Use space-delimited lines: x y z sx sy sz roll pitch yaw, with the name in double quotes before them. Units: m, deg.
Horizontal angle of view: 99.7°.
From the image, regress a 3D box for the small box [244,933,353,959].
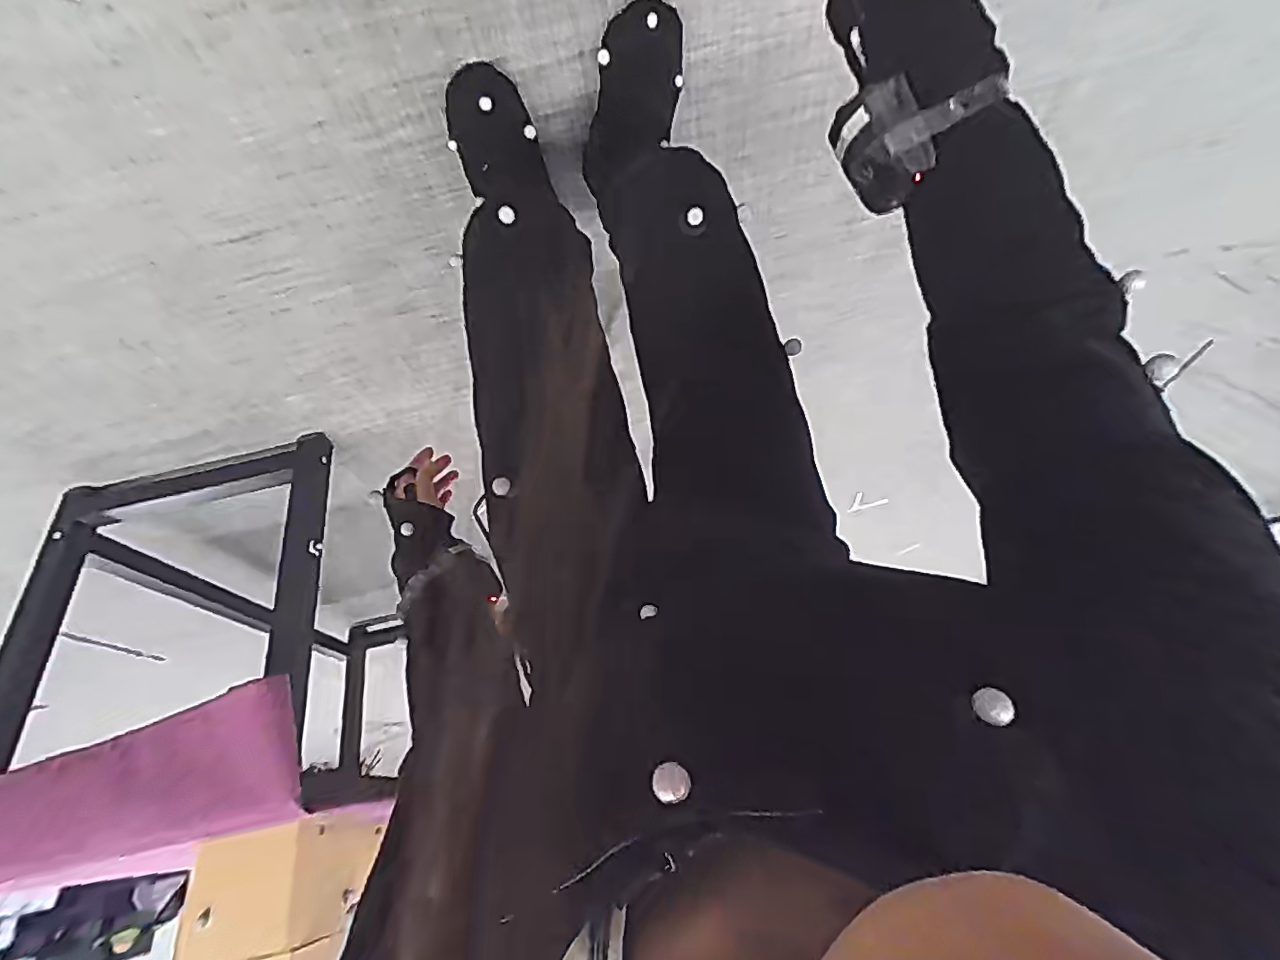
"small box" -0.553 0.813 0.809 0.168 0.176 0.179 -12 150 -3
